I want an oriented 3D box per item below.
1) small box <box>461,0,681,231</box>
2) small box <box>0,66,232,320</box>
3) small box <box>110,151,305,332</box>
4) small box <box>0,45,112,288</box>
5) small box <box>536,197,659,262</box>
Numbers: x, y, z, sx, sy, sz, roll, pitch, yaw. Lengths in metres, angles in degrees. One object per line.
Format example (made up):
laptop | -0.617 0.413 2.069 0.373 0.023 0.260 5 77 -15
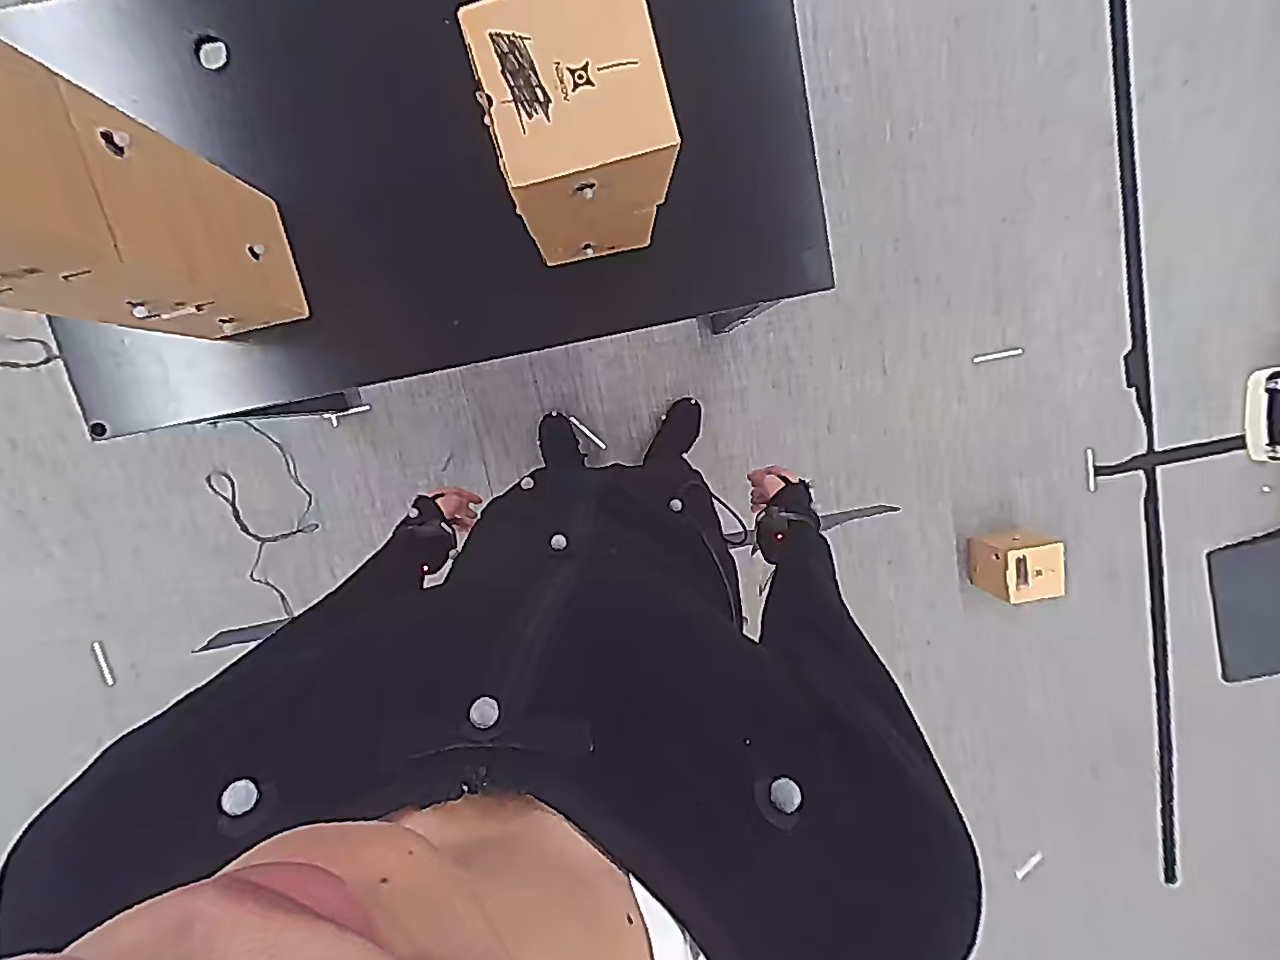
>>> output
small box | -0.067 -0.393 0.587 0.179 0.176 0.168 -16 100 -1
small box | -0.591 -0.283 0.574 0.168 0.176 0.179 -13 99 -1
small box | -0.600 -0.306 0.737 0.168 0.176 0.179 -14 100 -1
small box | -0.581 -0.258 0.413 0.168 0.176 0.179 -13 100 0
small box | -0.077 -0.424 0.748 0.168 0.176 0.179 -12 99 -1
